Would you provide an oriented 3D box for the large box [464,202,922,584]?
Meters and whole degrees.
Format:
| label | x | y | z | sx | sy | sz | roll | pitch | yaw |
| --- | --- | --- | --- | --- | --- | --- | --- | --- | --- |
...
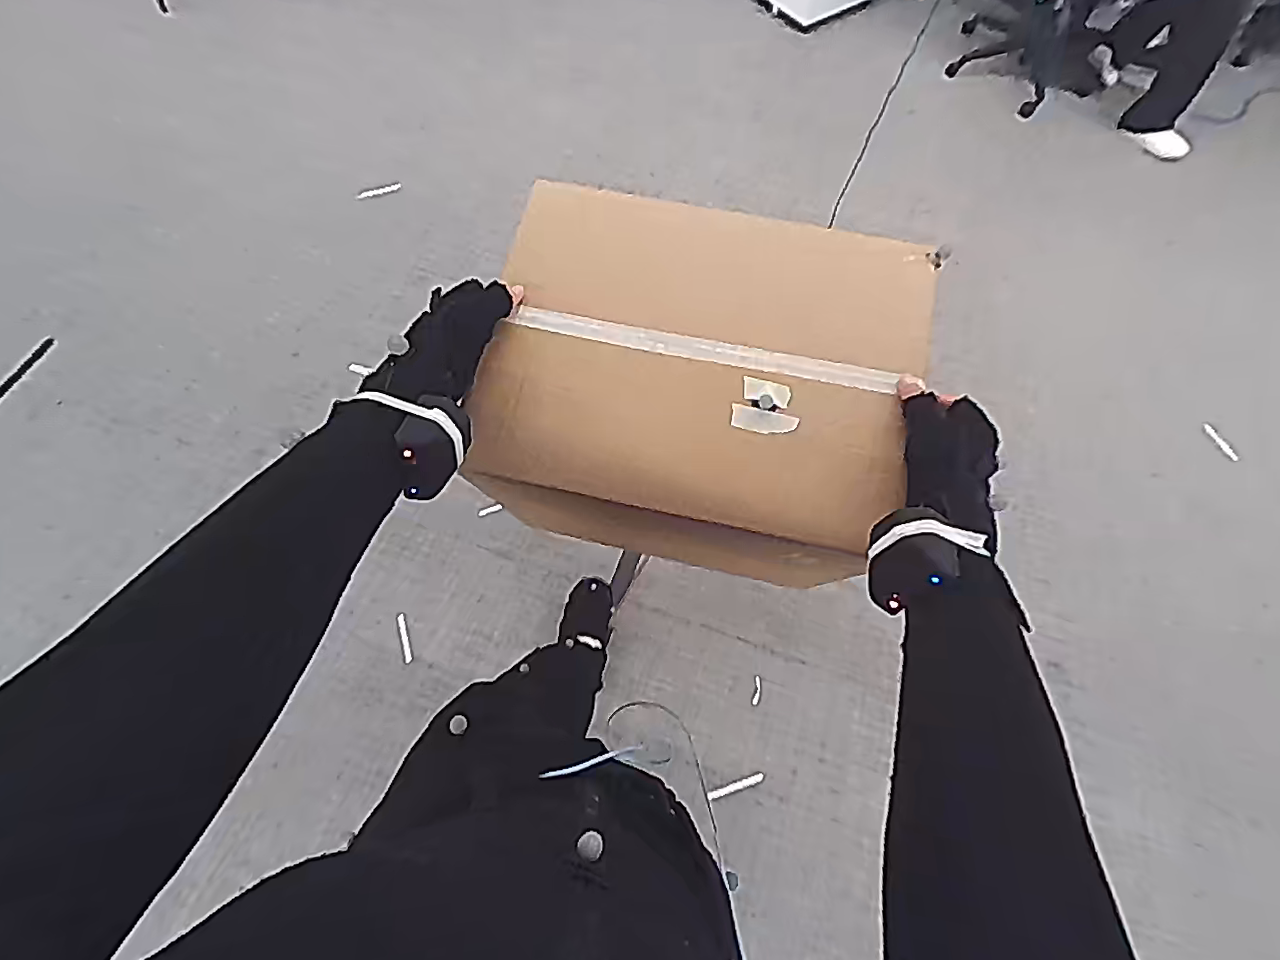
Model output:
| label | x | y | z | sx | sy | sz | roll | pitch | yaw |
| --- | --- | --- | --- | --- | --- | --- | --- | --- | --- |
| large box | 0.062 | -0.076 | 0.665 | 0.408 | 0.320 | 0.320 | 13 | 76 | 5 |
